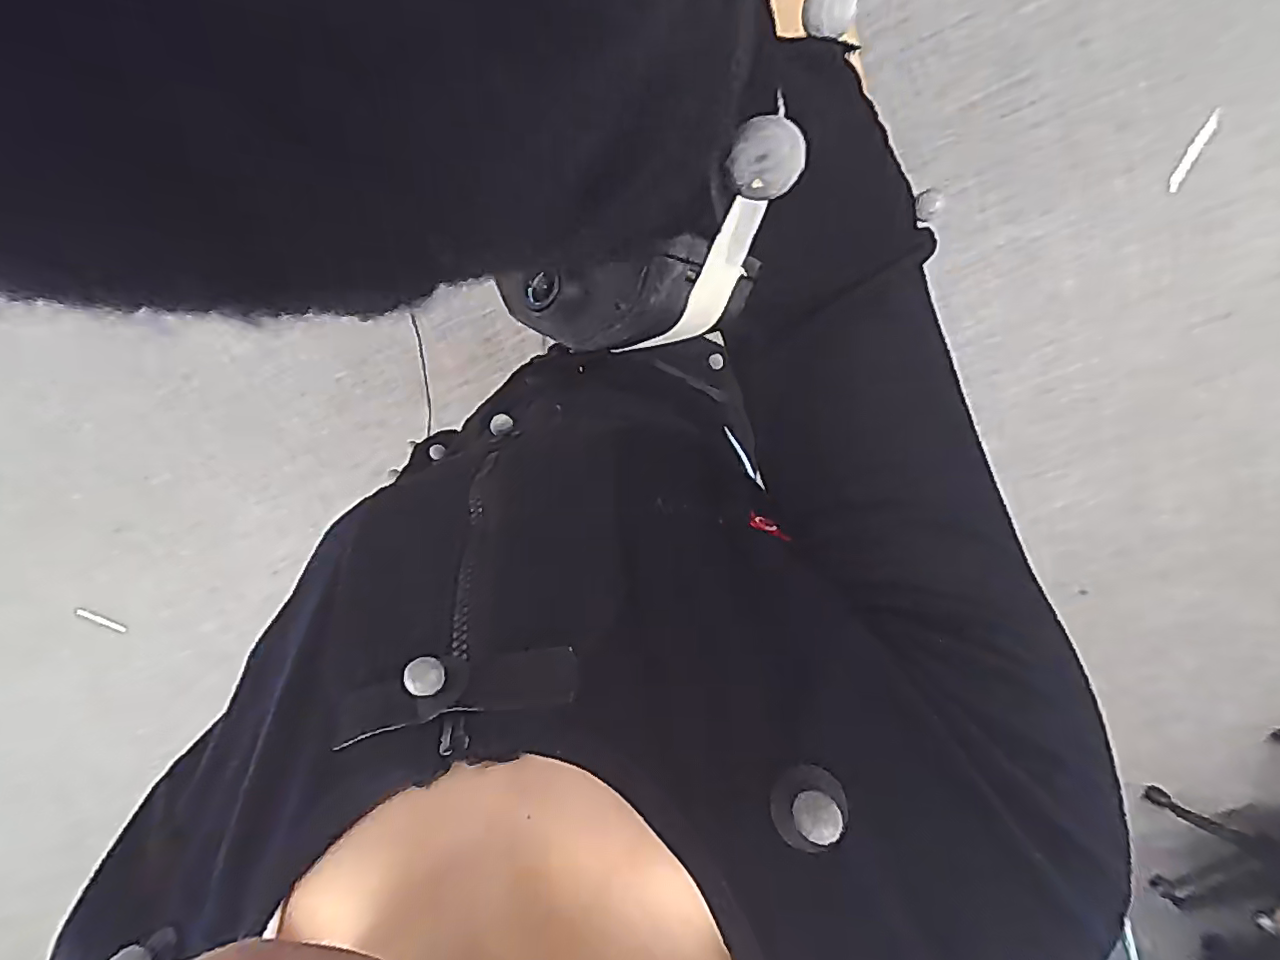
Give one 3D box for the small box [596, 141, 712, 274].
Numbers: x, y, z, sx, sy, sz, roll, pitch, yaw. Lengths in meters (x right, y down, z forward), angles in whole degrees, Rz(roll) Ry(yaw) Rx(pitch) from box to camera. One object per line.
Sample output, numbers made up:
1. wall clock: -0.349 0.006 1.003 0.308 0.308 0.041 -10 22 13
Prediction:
1. small box: 0.027 -0.550 1.118 0.179 0.176 0.168 -31 103 9
